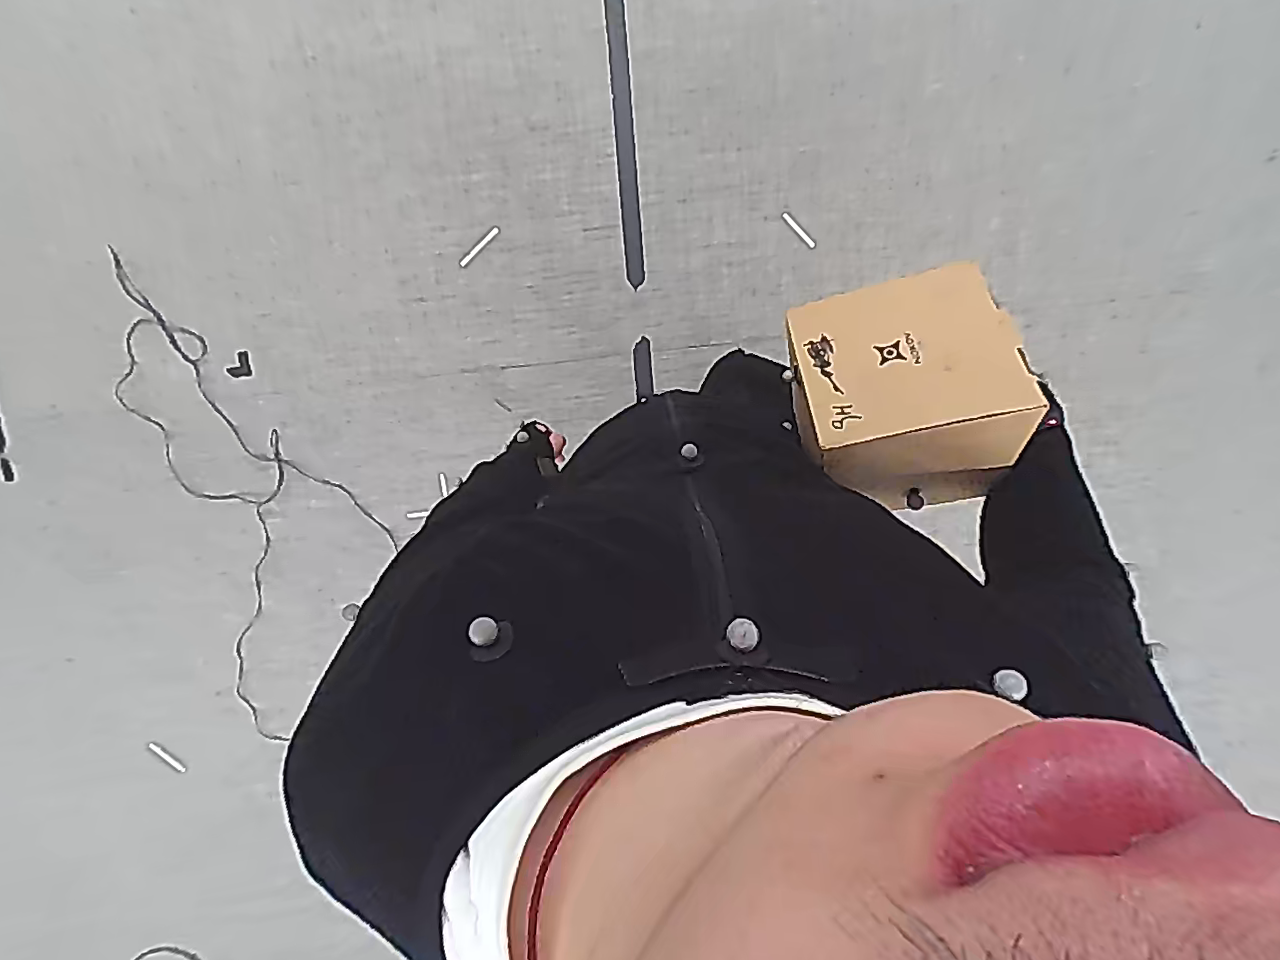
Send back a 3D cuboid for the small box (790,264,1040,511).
[{"bbox_3d":[0.261,-0.083,0.561,0.179,0.176,0.168,-11,60,14],"label":"small box"}]
